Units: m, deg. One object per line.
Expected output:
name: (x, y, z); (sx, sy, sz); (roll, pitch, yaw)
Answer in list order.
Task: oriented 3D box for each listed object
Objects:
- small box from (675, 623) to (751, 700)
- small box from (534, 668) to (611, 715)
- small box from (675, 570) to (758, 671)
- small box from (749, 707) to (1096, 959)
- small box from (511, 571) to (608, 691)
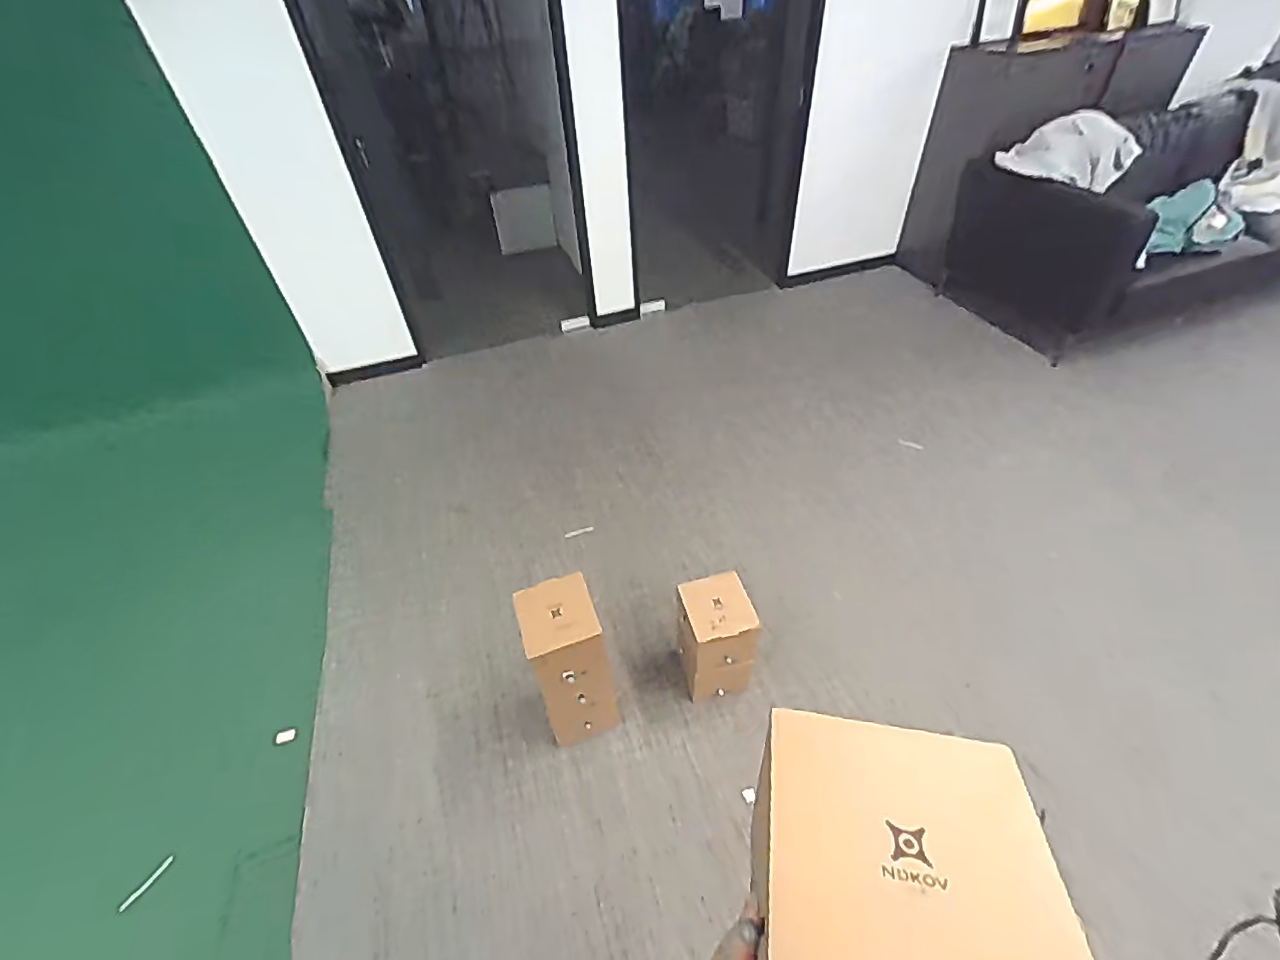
small box: (0.197, 0.489, 1.526); (0.168, 0.176, 0.179); (-11, 46, -8)
small box: (-0.178, 0.458, 1.344); (0.168, 0.176, 0.179); (-17, 46, -13)
small box: (0.192, 0.368, 1.413); (0.168, 0.176, 0.179); (-12, 45, -8)
small box: (0.164, 0.294, 0.367); (0.168, 0.176, 0.179); (6, 31, 10)
small box: (-0.181, 0.344, 1.228); (0.168, 0.176, 0.179); (-18, 47, -12)
